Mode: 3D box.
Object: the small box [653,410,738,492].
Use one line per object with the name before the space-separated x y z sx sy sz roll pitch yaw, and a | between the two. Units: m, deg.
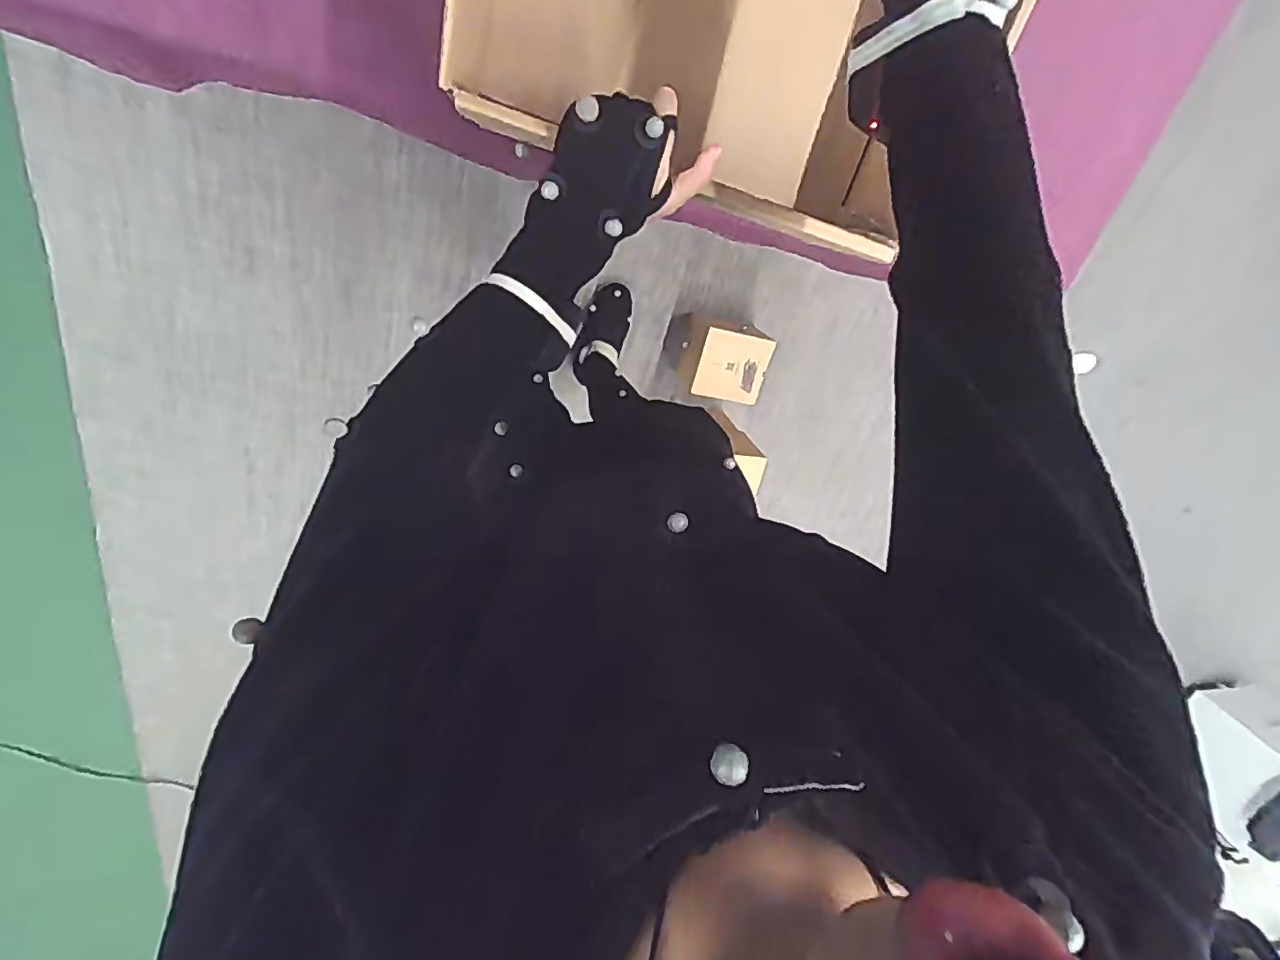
small box | 0.142 -0.084 1.477 0.179 0.176 0.168 5 116 -14
